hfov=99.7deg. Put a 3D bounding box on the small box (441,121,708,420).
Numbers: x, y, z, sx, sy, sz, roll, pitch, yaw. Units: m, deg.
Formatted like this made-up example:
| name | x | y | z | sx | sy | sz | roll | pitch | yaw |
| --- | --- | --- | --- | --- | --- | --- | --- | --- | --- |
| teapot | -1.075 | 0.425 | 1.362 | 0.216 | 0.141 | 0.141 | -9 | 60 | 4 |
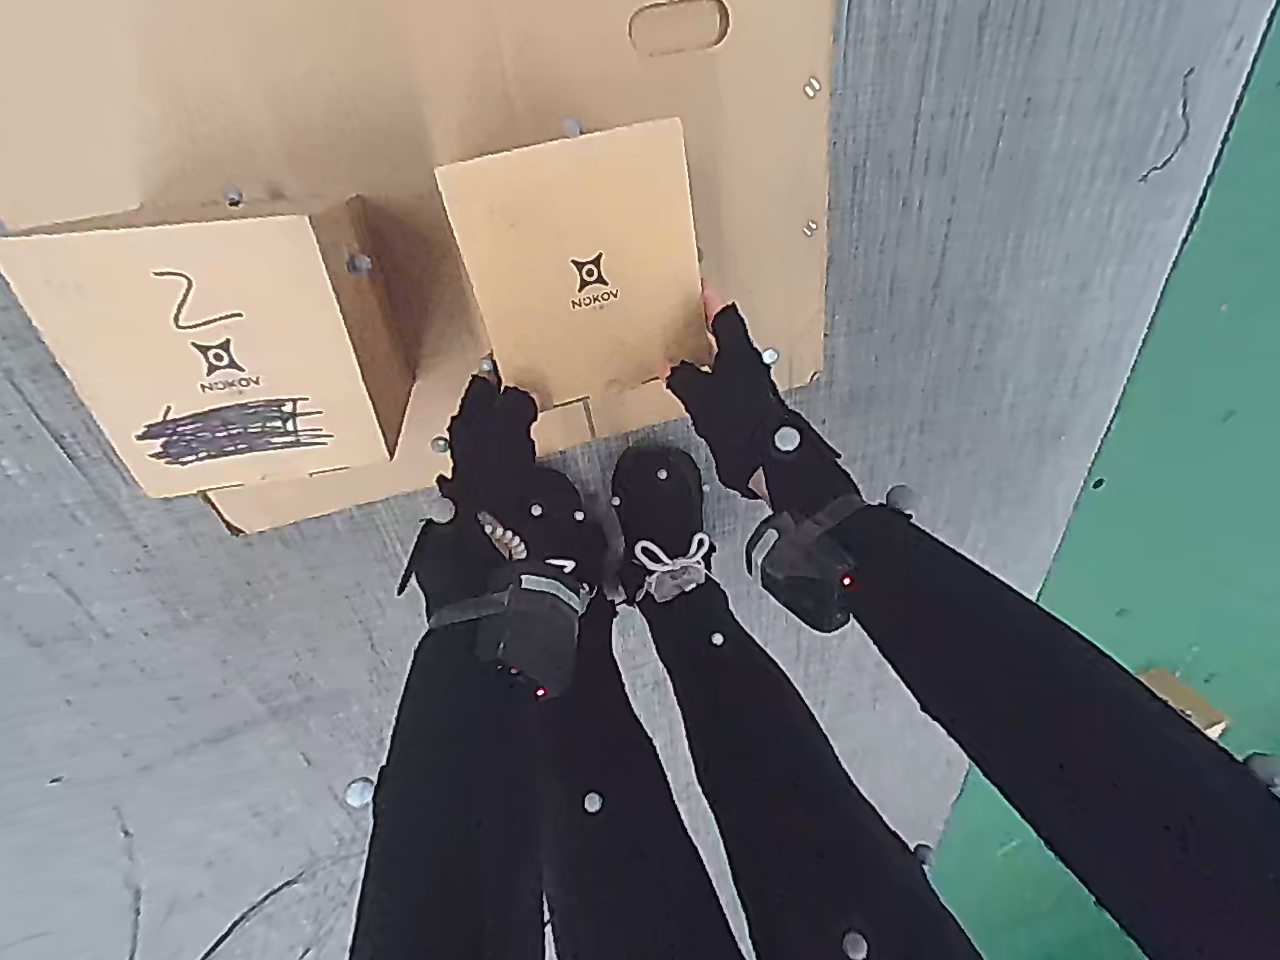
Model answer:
| name | x | y | z | sx | sy | sz | roll | pitch | yaw |
| --- | --- | --- | --- | --- | --- | --- | --- | --- | --- |
| small box | -0.058 | -0.179 | 0.456 | 0.168 | 0.176 | 0.179 | -18 | 123 | -9 |
